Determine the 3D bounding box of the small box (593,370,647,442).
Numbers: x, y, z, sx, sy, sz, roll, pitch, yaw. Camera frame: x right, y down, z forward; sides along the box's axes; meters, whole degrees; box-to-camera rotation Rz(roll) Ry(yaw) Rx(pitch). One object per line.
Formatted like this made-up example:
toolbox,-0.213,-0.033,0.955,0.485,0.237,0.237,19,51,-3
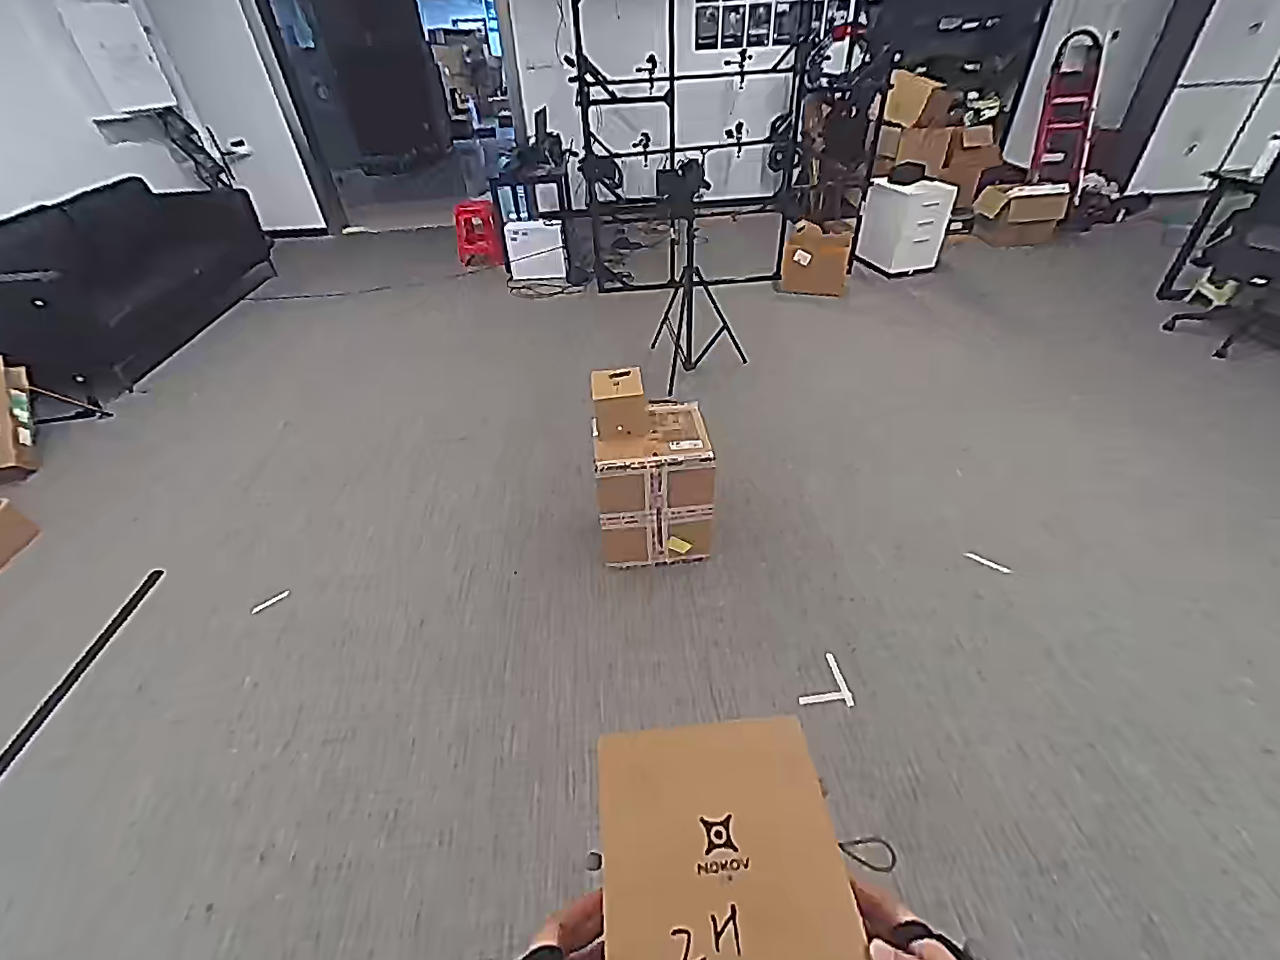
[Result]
small box,-0.069,-0.250,1.831,0.168,0.176,0.179,-7,42,-1
